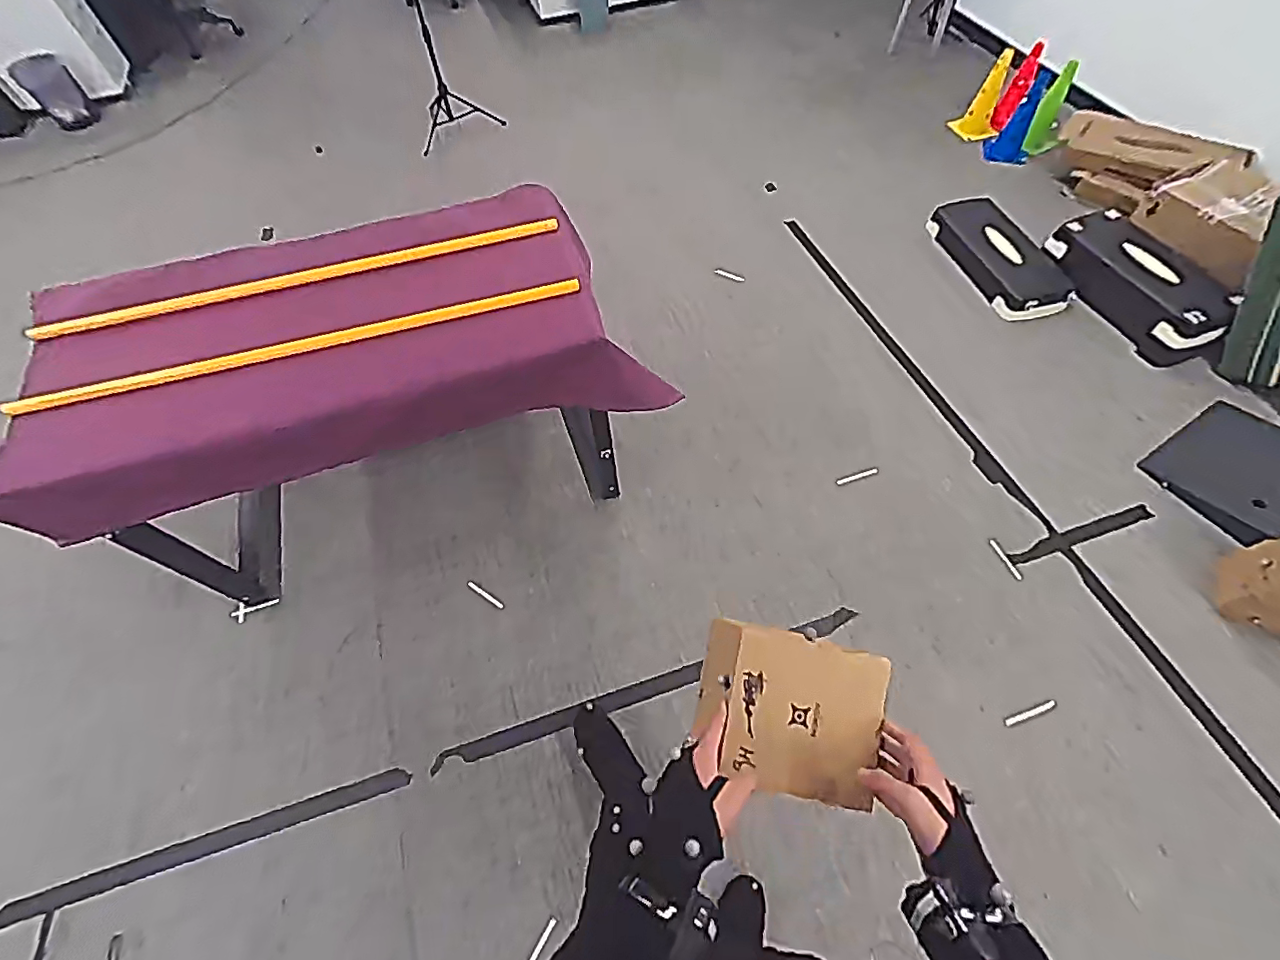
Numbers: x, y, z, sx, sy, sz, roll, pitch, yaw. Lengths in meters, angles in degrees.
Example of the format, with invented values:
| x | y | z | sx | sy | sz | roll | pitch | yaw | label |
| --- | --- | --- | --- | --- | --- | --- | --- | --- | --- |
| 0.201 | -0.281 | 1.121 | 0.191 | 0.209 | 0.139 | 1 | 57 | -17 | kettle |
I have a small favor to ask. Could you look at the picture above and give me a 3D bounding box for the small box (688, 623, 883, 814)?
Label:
| x | y | z | sx | sy | sz | roll | pitch | yaw | label |
| --- | --- | --- | --- | --- | --- | --- | --- | --- | --- |
| 0.172 | 0.283 | 0.681 | 0.179 | 0.176 | 0.168 | 13 | 80 | -2 | small box |
